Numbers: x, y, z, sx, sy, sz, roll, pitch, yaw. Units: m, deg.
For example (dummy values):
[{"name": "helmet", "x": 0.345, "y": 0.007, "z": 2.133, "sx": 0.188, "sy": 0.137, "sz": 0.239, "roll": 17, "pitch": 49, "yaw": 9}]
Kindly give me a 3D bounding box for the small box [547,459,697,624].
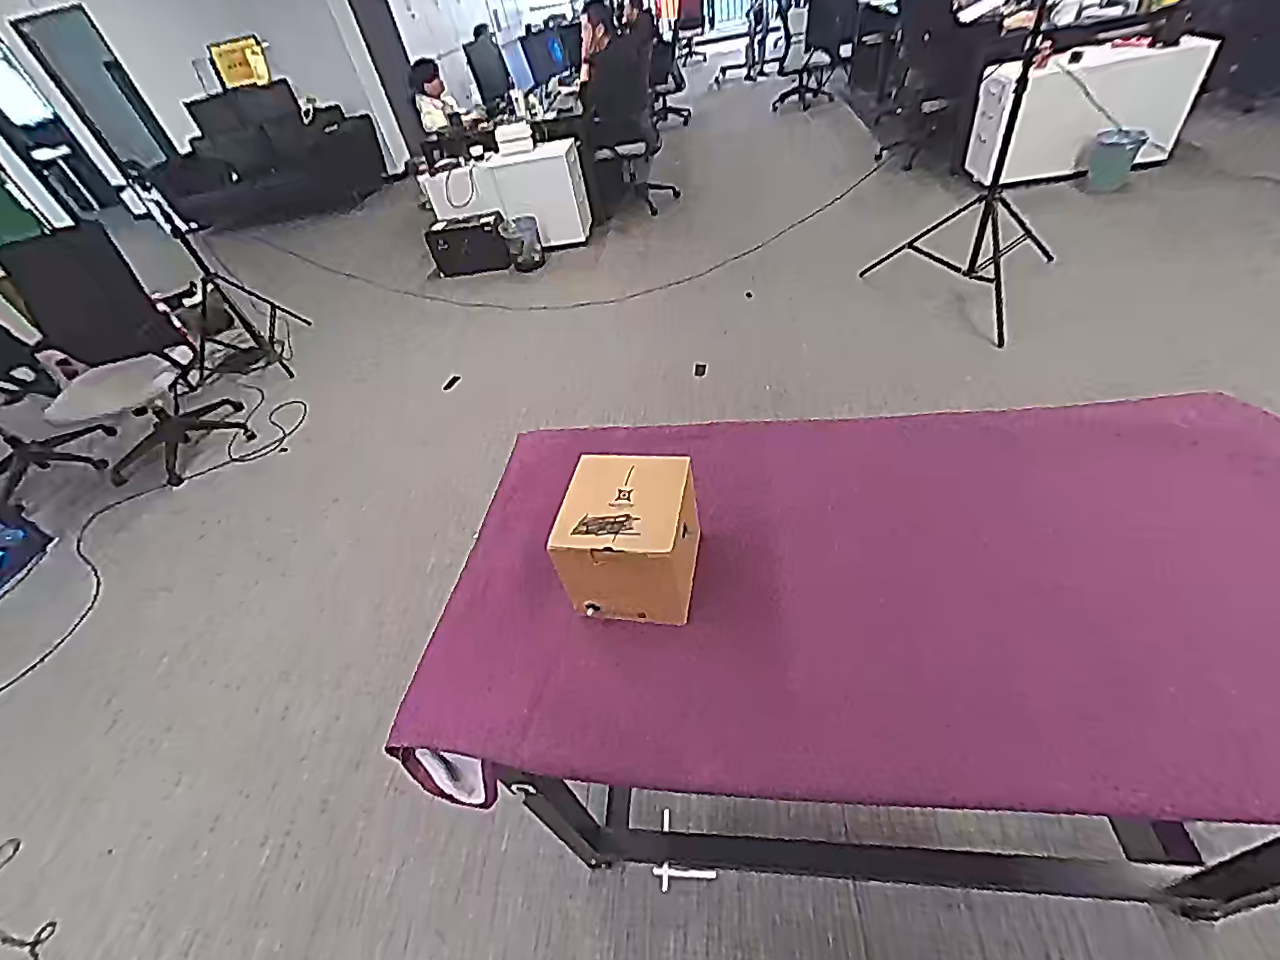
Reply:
[{"name": "small box", "x": -0.012, "y": 0.088, "z": 0.782, "sx": 0.168, "sy": 0.176, "sz": 0.179, "roll": 2, "pitch": 45, "yaw": 14}]
